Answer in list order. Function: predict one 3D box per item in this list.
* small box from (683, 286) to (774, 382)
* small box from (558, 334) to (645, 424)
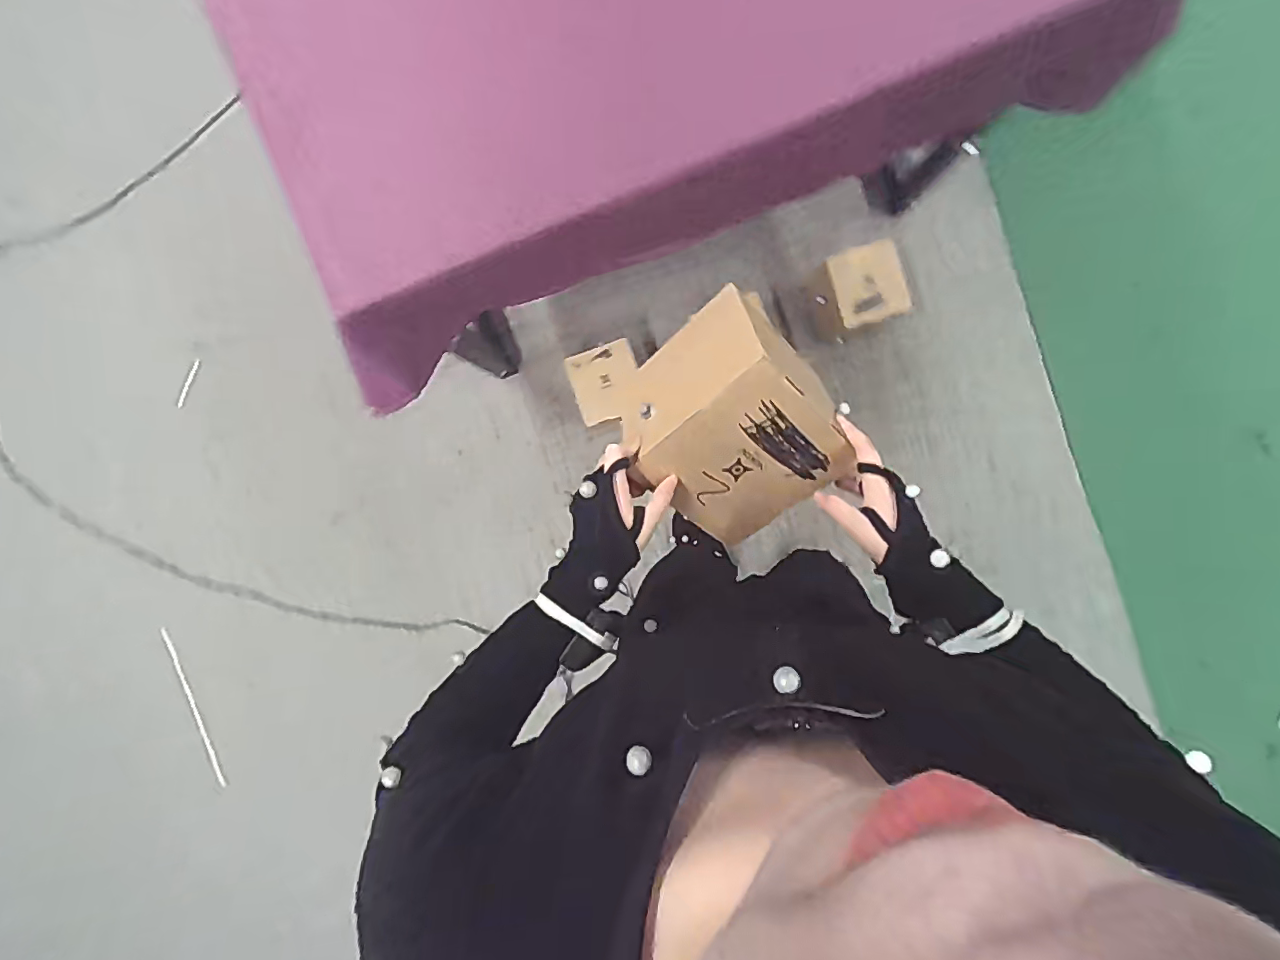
[{"bbox_3d":[0.216,-0.360,1.369,0.179,0.176,0.168,-21,92,3],"label":"small box"},{"bbox_3d":[-0.090,-0.251,1.383,0.168,0.176,0.179,-19,93,4],"label":"small box"}]
